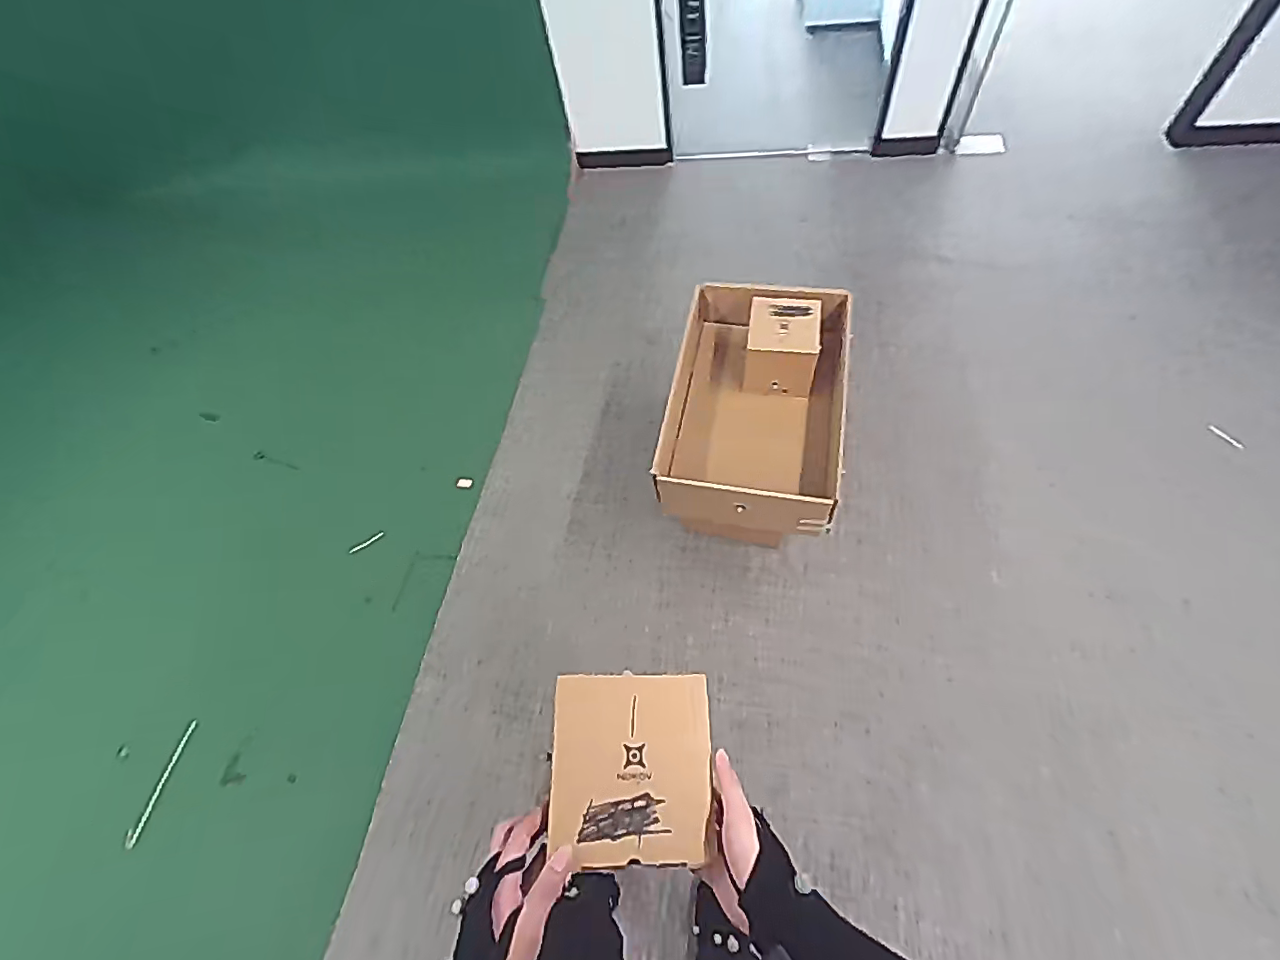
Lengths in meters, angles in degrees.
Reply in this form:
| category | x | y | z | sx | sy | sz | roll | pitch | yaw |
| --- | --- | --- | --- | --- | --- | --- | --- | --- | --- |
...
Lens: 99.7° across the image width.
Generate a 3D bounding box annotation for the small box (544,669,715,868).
| category | x | y | z | sx | sy | sz | roll | pitch | yaw |
| --- | --- | --- | --- | --- | --- | --- | --- | --- | --- |
| small box | -0.015 | 0.319 | 0.614 | 0.168 | 0.176 | 0.179 | 4 | 63 | -6 |
